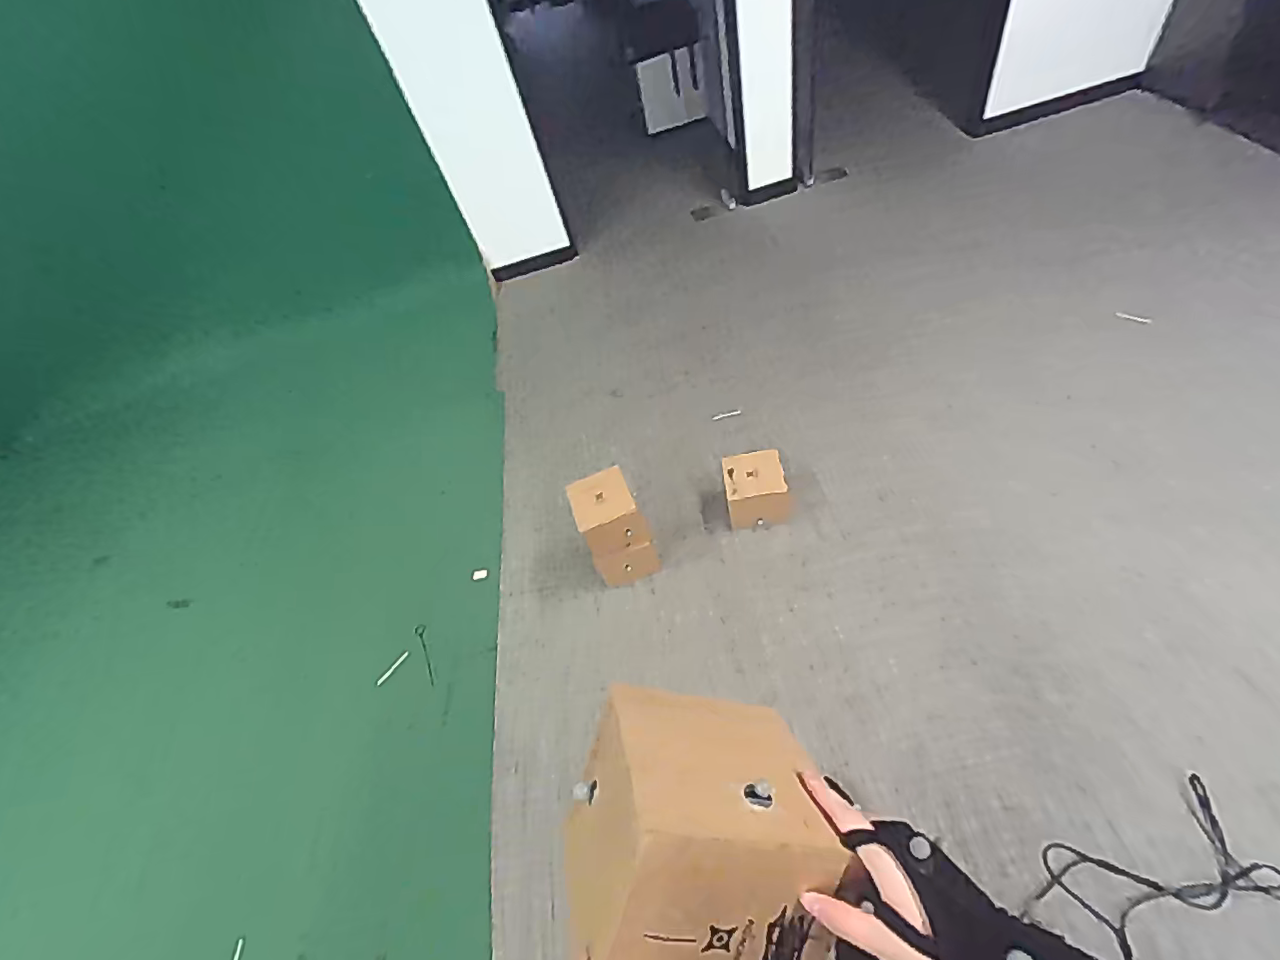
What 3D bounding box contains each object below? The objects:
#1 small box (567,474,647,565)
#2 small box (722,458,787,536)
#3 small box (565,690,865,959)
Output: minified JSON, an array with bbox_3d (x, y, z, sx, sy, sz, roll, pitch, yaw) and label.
[{"bbox_3d":[-0.091,0.120,1.542,0.168,0.176,0.179,-22,49,-2],"label":"small box"},{"bbox_3d":[0.354,0.055,1.677,0.179,0.176,0.168,-9,50,9],"label":"small box"},{"bbox_3d":[0.044,0.303,0.456,0.179,0.168,0.176,15,9,-13],"label":"small box"}]
